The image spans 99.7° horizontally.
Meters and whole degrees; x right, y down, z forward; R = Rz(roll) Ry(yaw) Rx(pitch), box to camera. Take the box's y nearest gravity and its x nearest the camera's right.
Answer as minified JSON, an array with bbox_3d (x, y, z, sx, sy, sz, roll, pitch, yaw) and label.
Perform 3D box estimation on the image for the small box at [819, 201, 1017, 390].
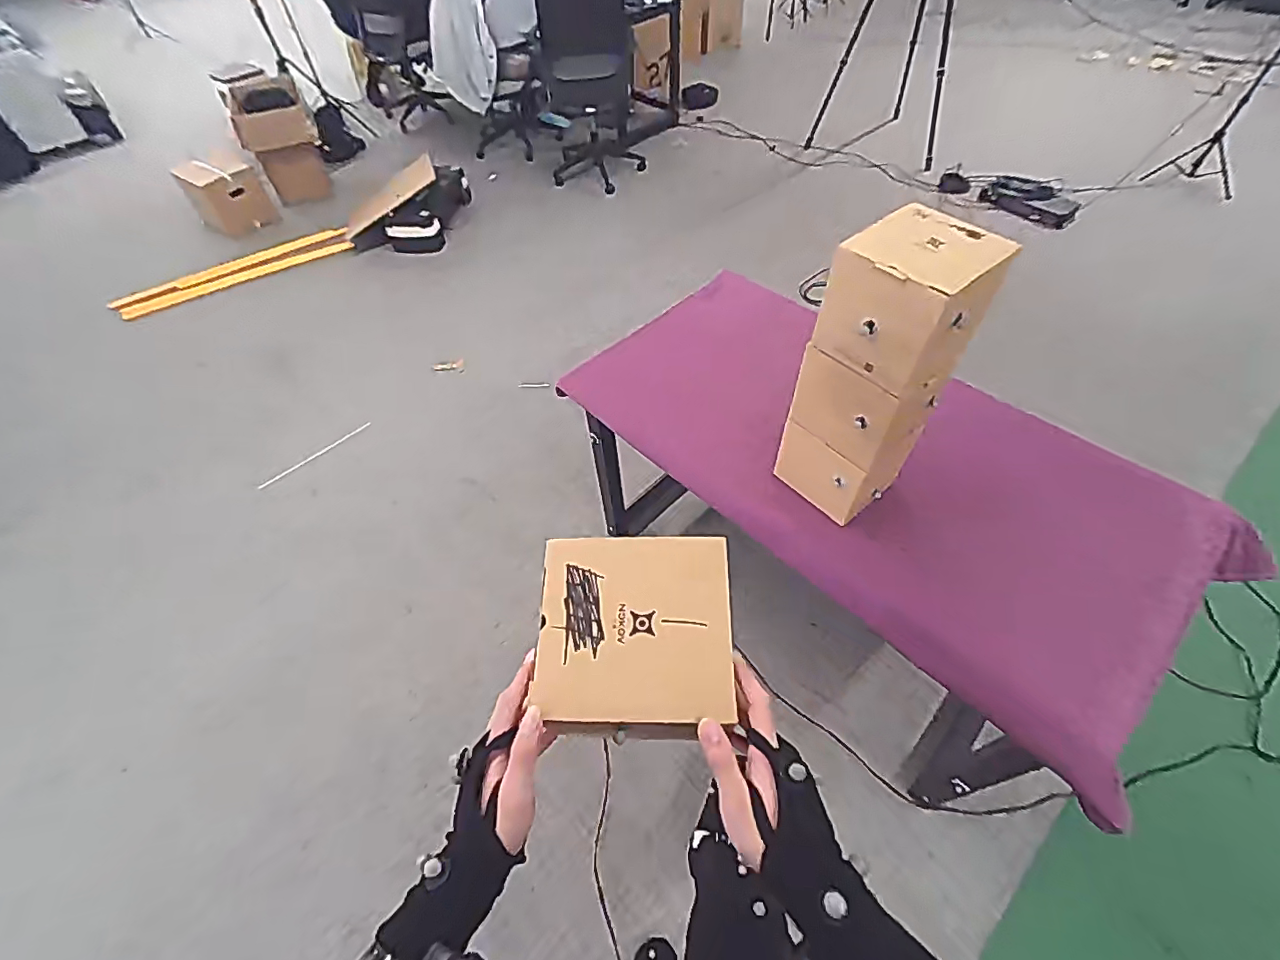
[{"bbox_3d":[0.379,-0.260,0.774,0.179,0.176,0.168,-34,59,-21],"label":"small box"}]

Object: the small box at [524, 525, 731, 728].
[{"bbox_3d":[-0.003,0.156,0.554,0.179,0.176,0.168,0,60,4],"label":"small box"}]

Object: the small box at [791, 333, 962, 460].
[{"bbox_3d":[0.381,-0.157,0.900,0.168,0.176,0.179,-34,58,-21],"label":"small box"}]
